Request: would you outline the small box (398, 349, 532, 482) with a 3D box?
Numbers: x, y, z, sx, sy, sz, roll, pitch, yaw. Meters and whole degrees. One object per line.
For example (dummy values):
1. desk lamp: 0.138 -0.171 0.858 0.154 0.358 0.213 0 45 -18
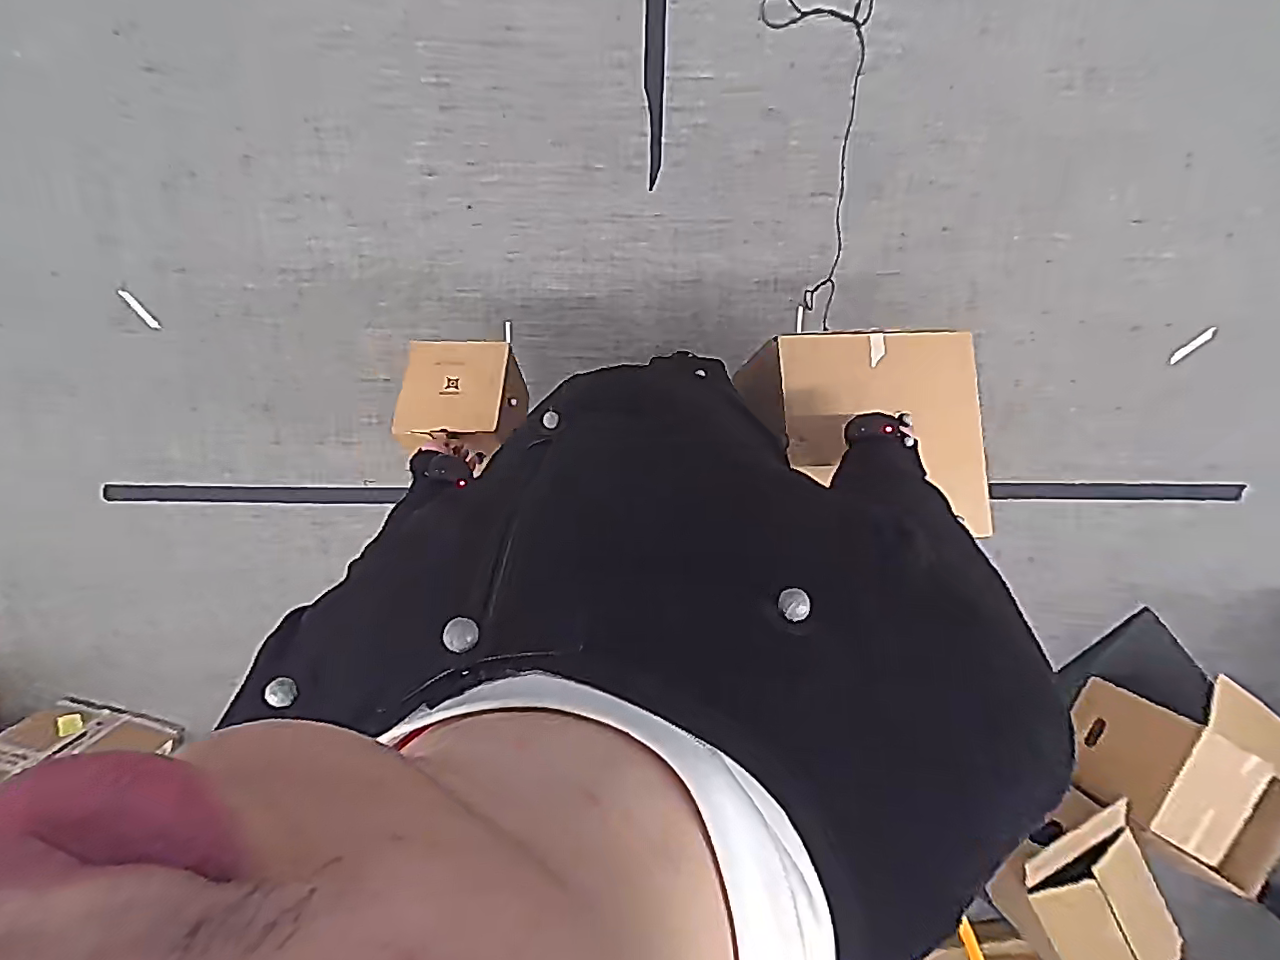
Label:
1. small box: -0.293 -0.107 0.949 0.168 0.176 0.179 2 63 2
